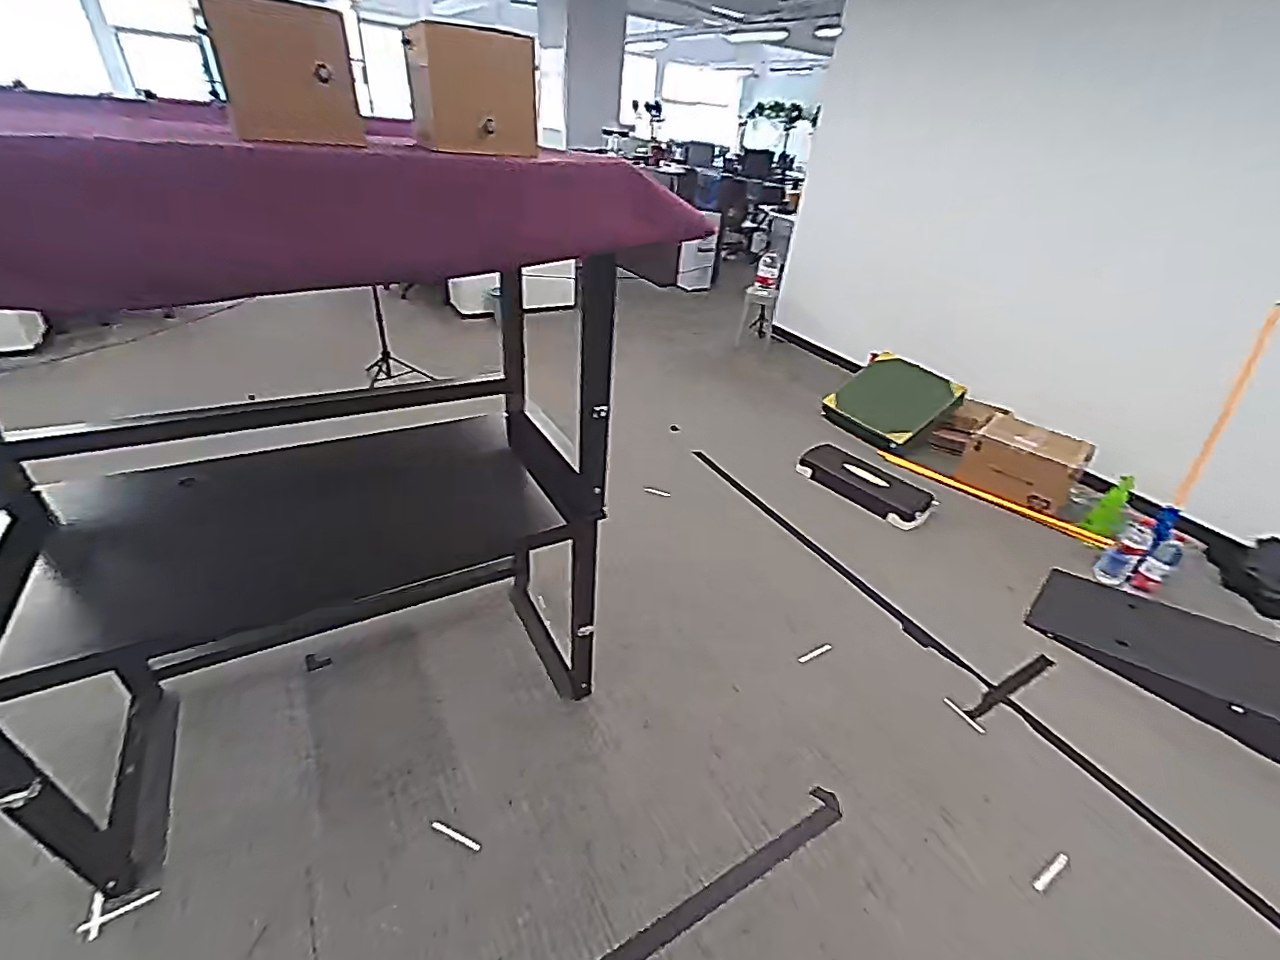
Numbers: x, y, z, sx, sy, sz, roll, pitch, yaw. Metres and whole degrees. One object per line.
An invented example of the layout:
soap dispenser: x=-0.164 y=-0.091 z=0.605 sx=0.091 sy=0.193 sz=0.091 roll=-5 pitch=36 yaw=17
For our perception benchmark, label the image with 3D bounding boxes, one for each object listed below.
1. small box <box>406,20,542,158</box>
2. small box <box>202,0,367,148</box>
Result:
small box: x=-0.278 y=-0.649 z=0.915 sx=0.179 sy=0.176 sz=0.168 roll=-15 pitch=38 yaw=-29
small box: x=-0.526 y=-0.608 z=0.819 sx=0.179 sy=0.176 sz=0.168 roll=-14 pitch=37 yaw=-27
